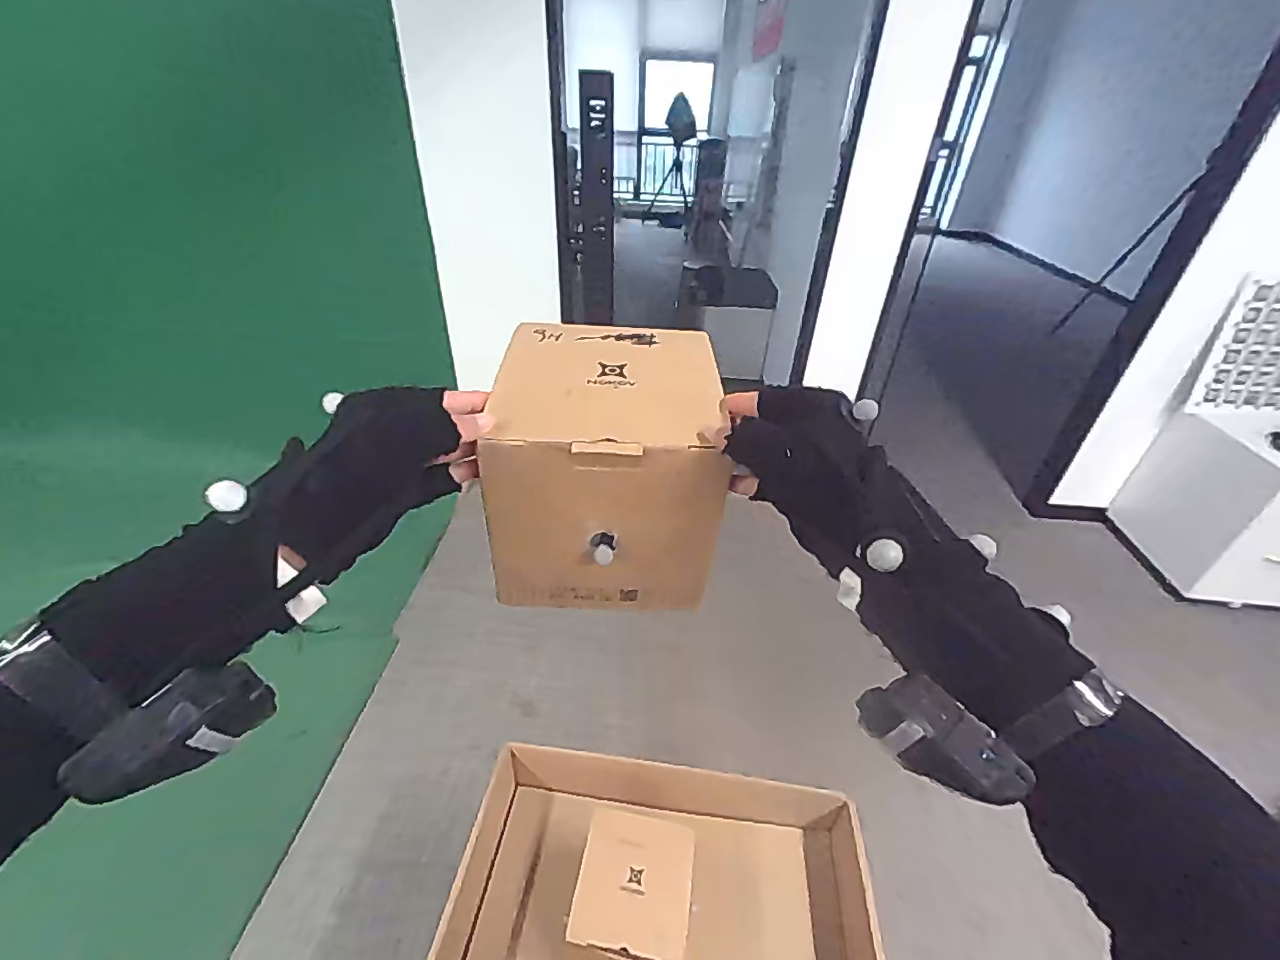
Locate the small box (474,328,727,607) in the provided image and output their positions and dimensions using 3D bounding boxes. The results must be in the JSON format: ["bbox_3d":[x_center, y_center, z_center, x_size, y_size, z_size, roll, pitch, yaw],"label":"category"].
[{"bbox_3d":[-0.028,-0.010,0.456,0.168,0.176,0.179,2,40,-3],"label":"small box"}]

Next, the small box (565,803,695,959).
[{"bbox_3d":[-0.013,0.646,0.836,0.168,0.176,0.179,10,34,5],"label":"small box"}]
